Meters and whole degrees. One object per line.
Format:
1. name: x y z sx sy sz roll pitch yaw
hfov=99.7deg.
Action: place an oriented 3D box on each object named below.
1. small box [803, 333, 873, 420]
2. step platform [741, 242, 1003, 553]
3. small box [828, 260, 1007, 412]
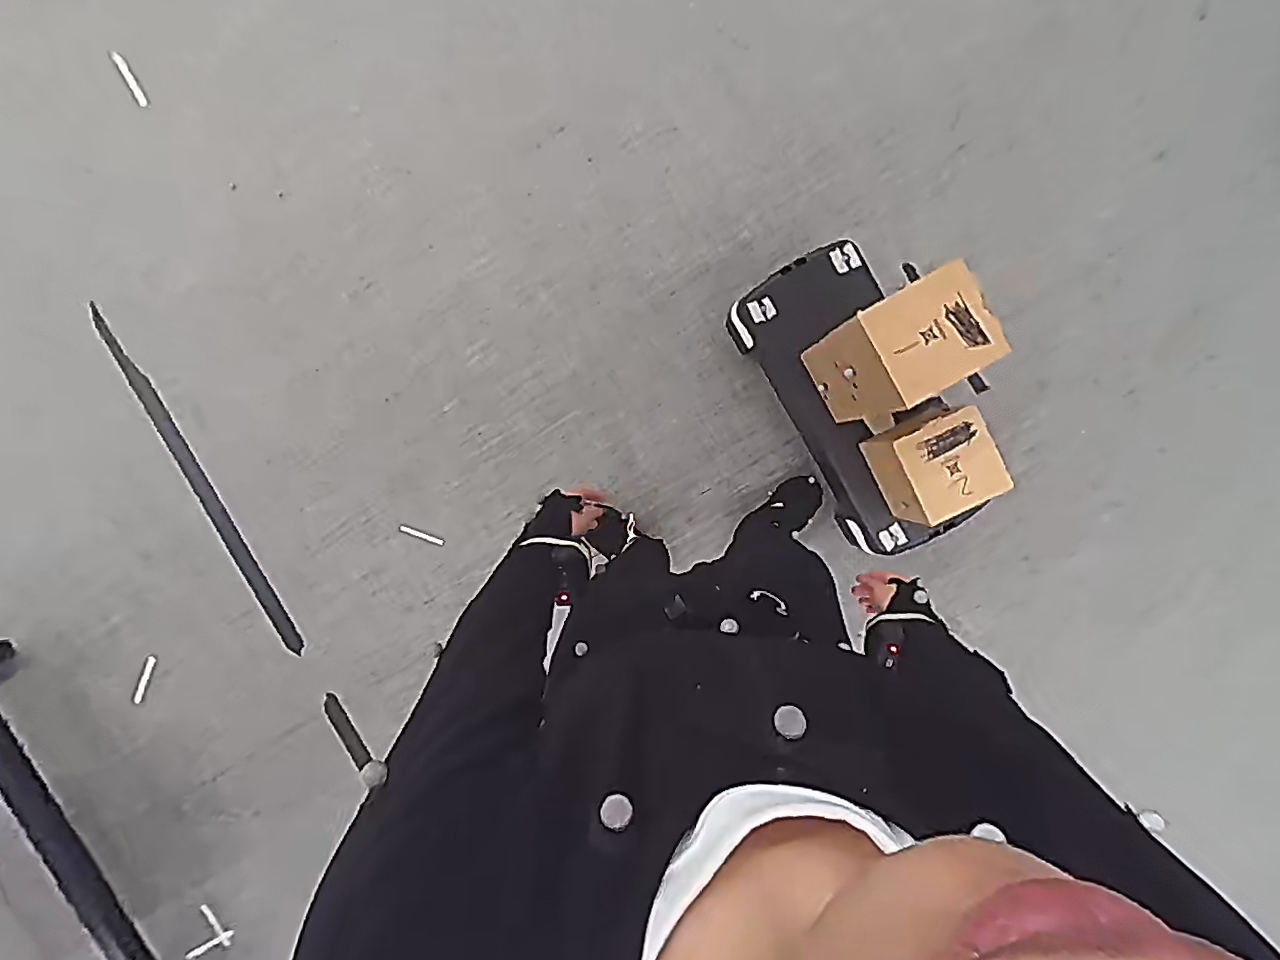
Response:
1. small box: 0.450 -0.231 1.063 0.179 0.176 0.168 -28 91 3
2. step platform: 0.514 -0.176 1.237 0.286 0.204 0.684 -30 91 3
3. small box: 0.445 -0.227 0.898 0.179 0.176 0.168 -29 91 4
